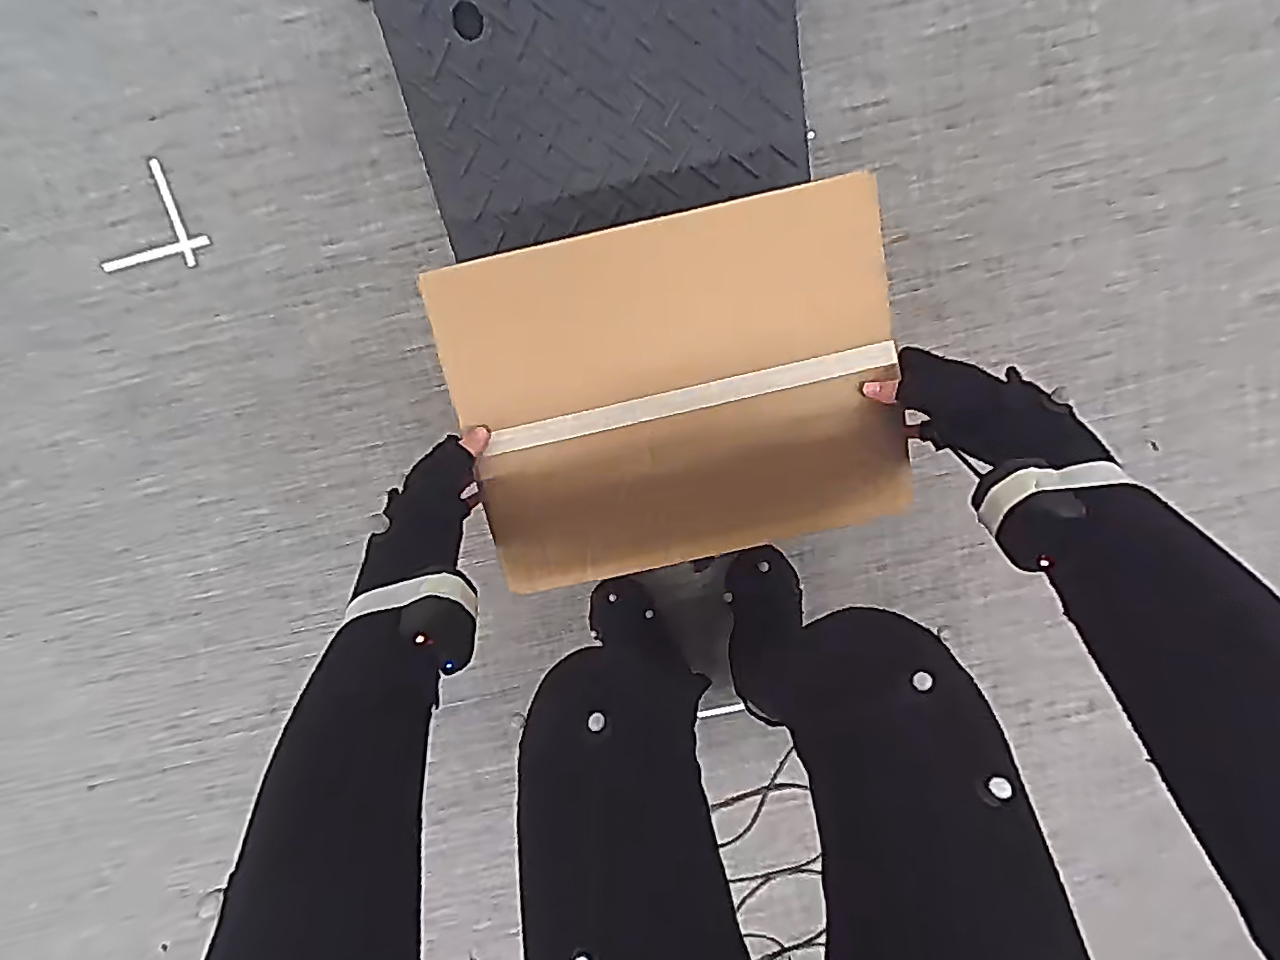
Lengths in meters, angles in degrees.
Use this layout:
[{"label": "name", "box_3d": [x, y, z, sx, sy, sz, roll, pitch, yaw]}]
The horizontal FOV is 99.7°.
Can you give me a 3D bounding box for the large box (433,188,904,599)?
[{"label": "large box", "box_3d": [0.036, -0.100, 0.658, 0.408, 0.320, 0.320, -13, 101, 2]}]
